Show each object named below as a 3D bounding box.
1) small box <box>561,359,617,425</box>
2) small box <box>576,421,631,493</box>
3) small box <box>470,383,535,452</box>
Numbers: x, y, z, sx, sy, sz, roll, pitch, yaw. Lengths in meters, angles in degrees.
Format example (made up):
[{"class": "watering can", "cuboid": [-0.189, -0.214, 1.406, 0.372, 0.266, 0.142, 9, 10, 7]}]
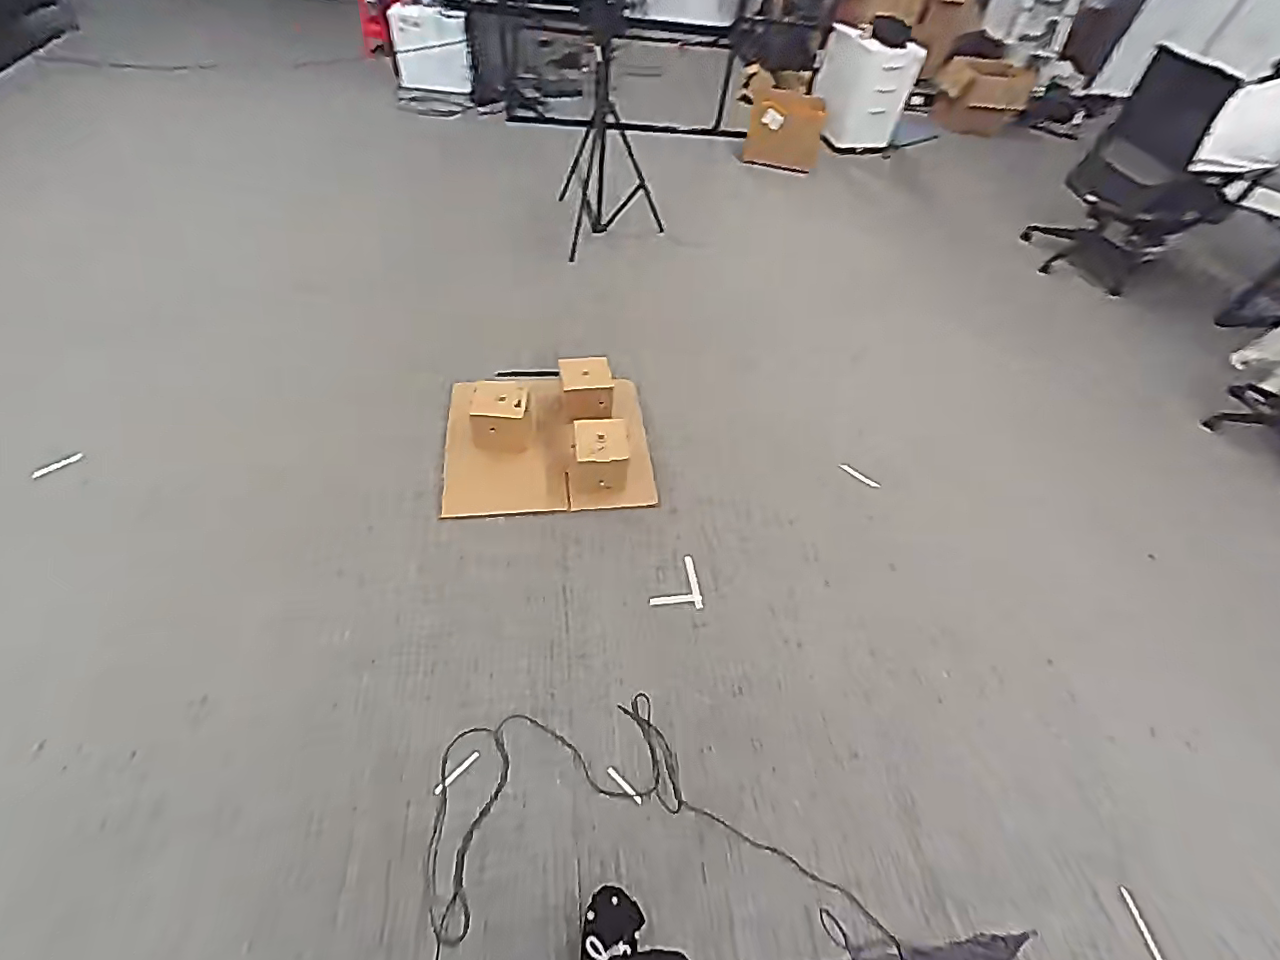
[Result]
[{"class": "small box", "cuboid": [-0.190, -0.318, 1.966, 0.179, 0.176, 0.168, -6, 53, -12]}, {"class": "small box", "cuboid": [-0.126, -0.076, 1.786, 0.168, 0.176, 0.179, -3, 54, -8]}, {"class": "small box", "cuboid": [-0.462, -0.211, 1.845, 0.179, 0.176, 0.168, 4, 53, -3]}]
